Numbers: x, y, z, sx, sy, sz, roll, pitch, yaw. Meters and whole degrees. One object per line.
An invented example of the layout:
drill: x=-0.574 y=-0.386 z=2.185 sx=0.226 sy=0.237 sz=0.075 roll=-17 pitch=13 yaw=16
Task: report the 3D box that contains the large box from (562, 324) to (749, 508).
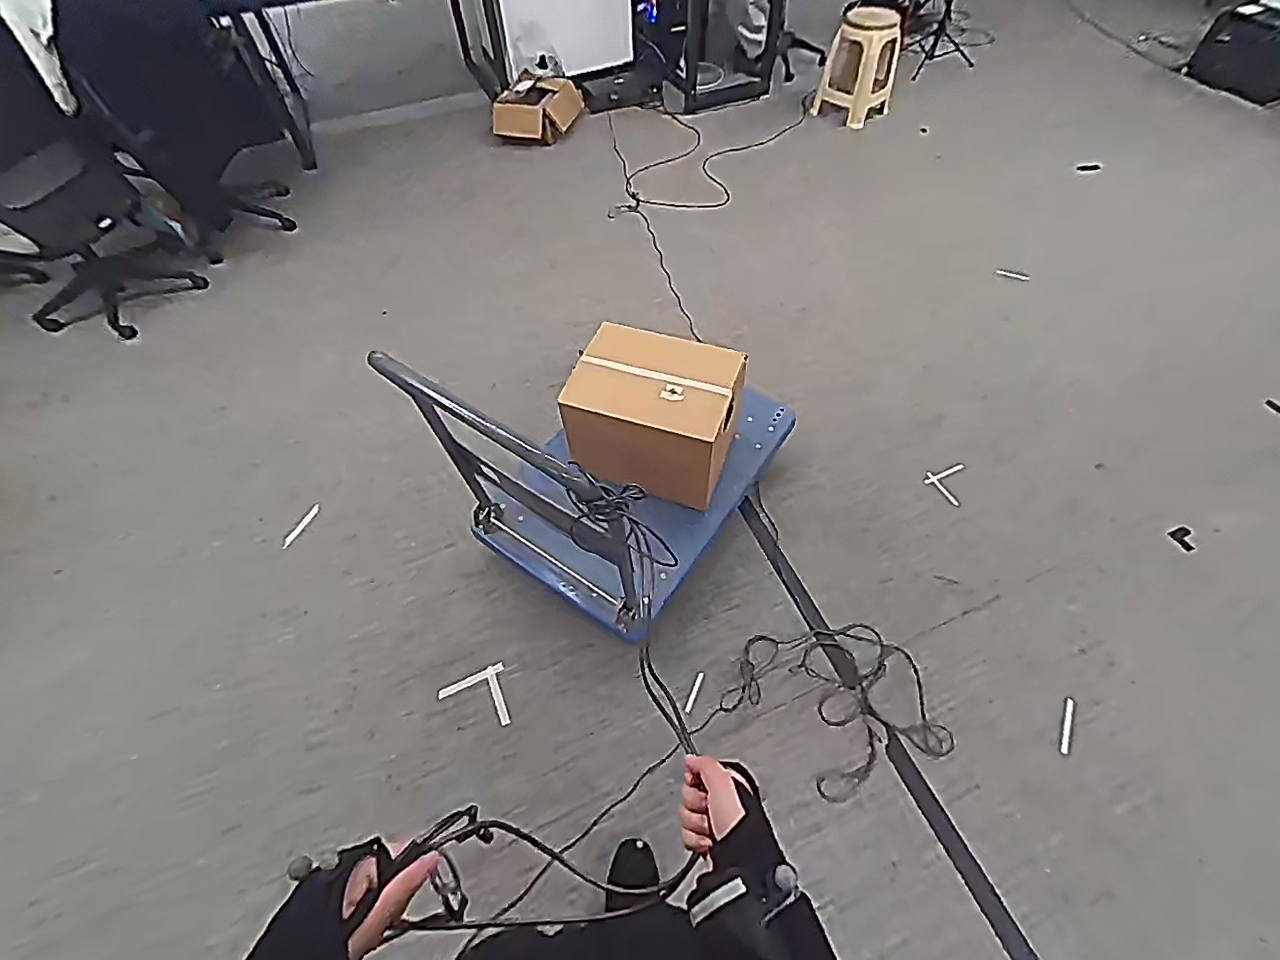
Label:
large box: x=0.046 y=-0.171 z=1.473 sx=0.408 sy=0.320 sz=0.320 roll=17 pitch=59 yaw=13
